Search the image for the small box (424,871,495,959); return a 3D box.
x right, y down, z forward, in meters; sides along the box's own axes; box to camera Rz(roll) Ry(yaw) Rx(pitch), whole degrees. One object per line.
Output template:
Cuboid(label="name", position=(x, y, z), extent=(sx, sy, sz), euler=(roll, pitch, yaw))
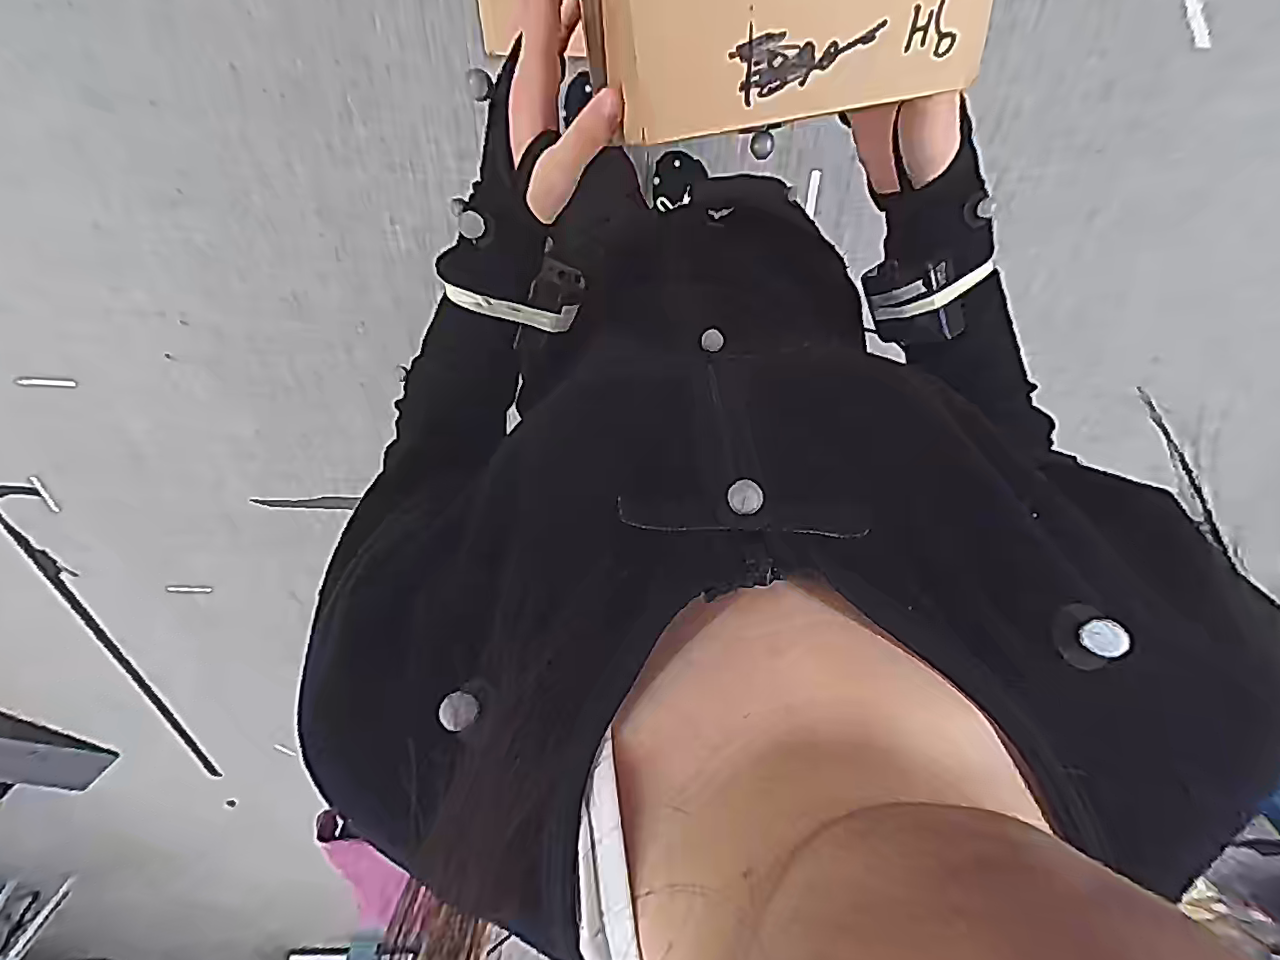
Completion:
Cuboid(label="small box", position=(-0.532, 1.301, 1.616), extent=(0.168, 0.176, 0.179), euler=(6, 125, -6))

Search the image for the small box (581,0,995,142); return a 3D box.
Cuboid(label="small box", position=(0.054, -0.282, 0.269), extent=(0.168, 0.176, 0.179), euler=(-12, 123, -3))

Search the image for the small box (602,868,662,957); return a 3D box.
Cuboid(label="small box", position=(-0.025, 1.295, 1.620), extent=(0.168, 0.176, 0.179), euler=(3, 124, -3))
